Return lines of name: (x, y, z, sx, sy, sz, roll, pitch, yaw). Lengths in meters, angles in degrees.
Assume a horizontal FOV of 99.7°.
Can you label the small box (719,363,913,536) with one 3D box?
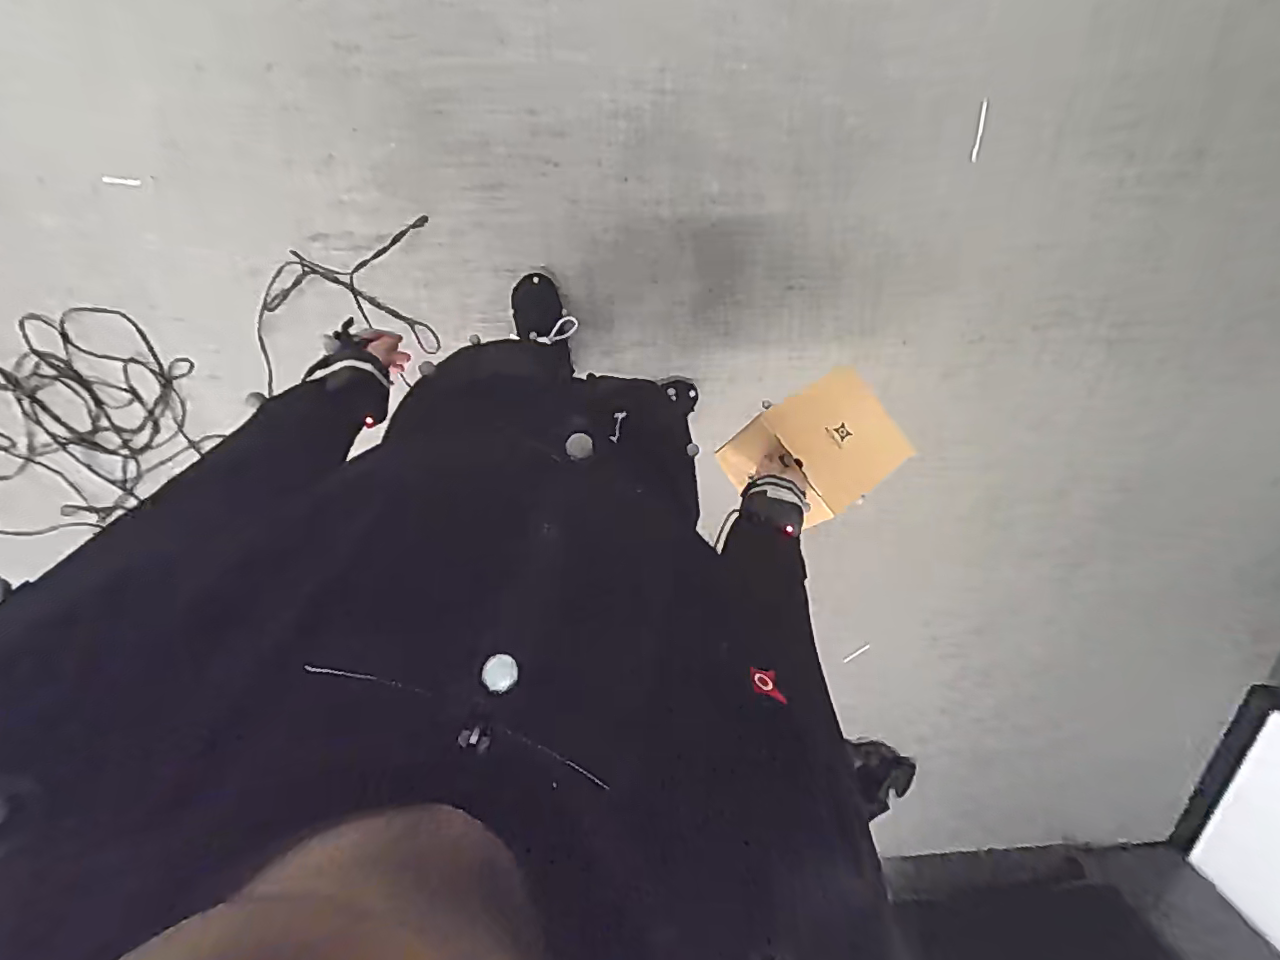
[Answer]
small box: (0.249, -0.038, 0.802, 0.179, 0.176, 0.168, -33, 85, -20)
